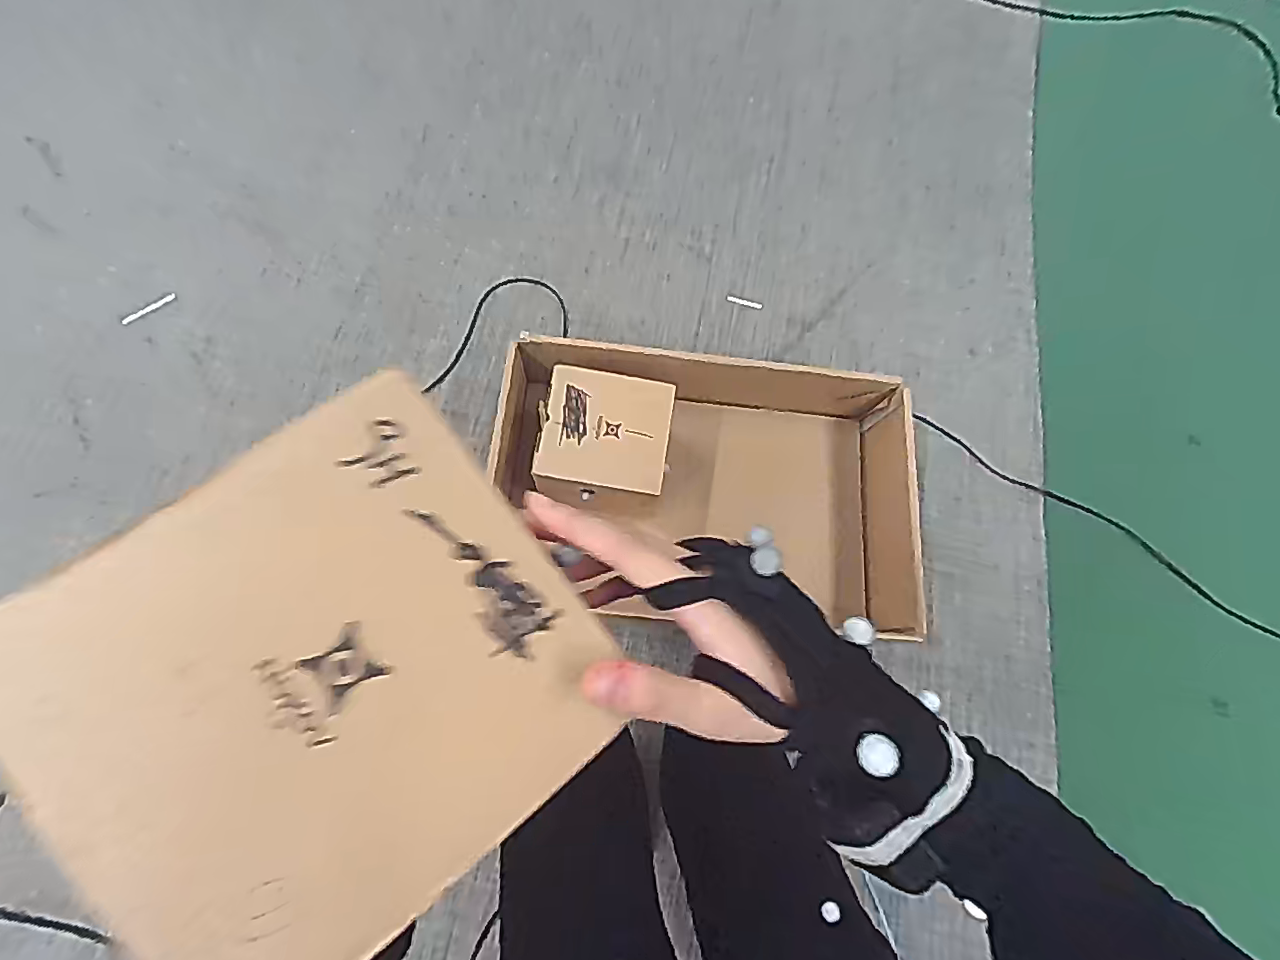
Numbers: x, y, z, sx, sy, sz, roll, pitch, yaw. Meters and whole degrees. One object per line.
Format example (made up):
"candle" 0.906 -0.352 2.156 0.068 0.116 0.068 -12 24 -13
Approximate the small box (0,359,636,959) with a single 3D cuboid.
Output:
"small box" -0.127 0.080 0.262 0.179 0.176 0.168 -38 89 -14
